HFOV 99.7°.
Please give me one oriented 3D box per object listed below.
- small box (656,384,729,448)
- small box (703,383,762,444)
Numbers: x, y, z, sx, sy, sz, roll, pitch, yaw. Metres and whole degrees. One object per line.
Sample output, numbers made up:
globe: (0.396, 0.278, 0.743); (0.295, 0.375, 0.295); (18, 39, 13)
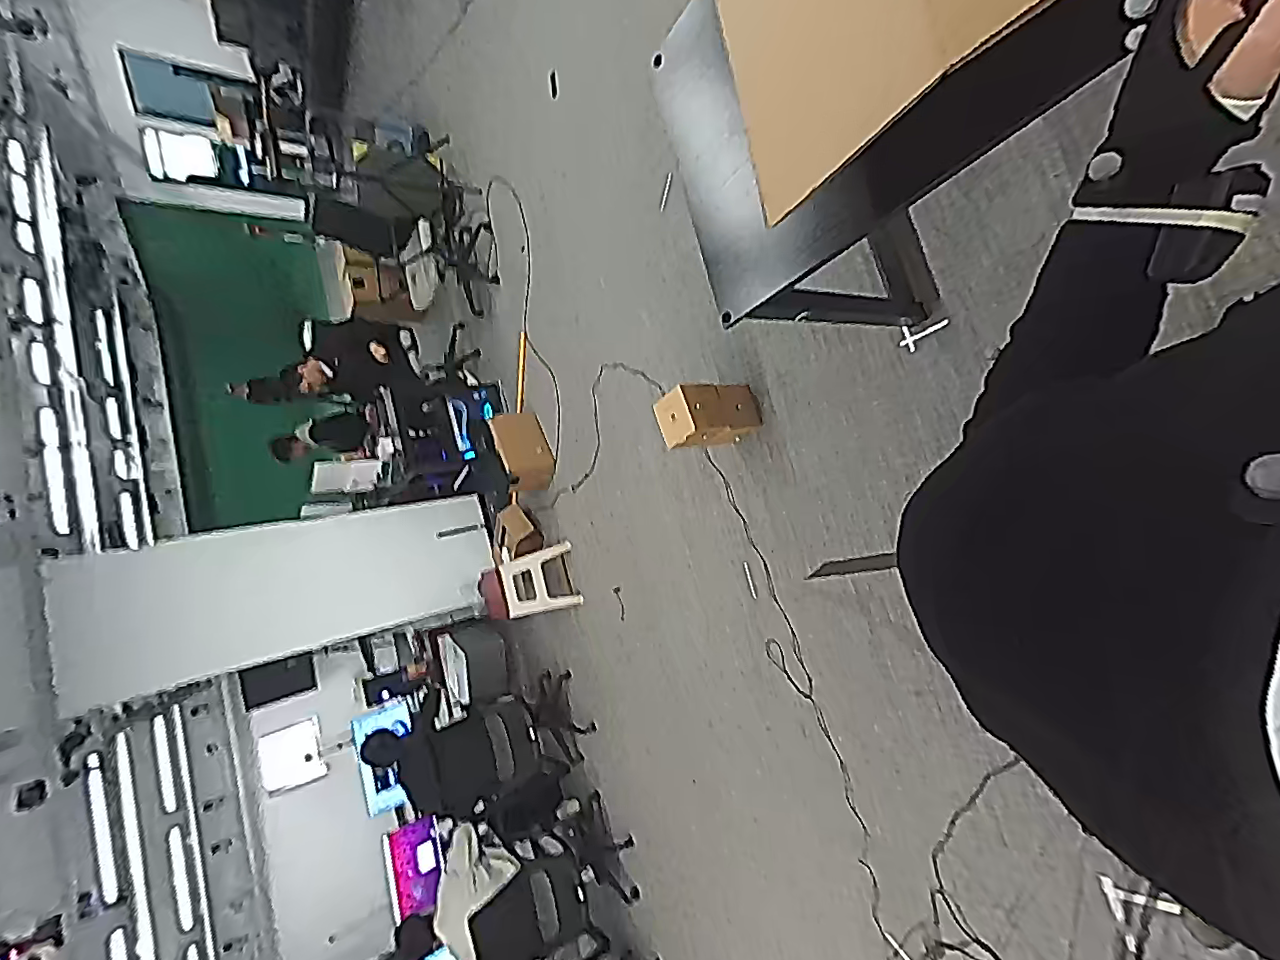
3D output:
small box: (0.188, -0.230, 1.902); (0.168, 0.176, 0.179); (-34, 69, 51)
small box: (0.320, -0.246, 1.996); (0.168, 0.176, 0.179); (-31, 74, 53)
